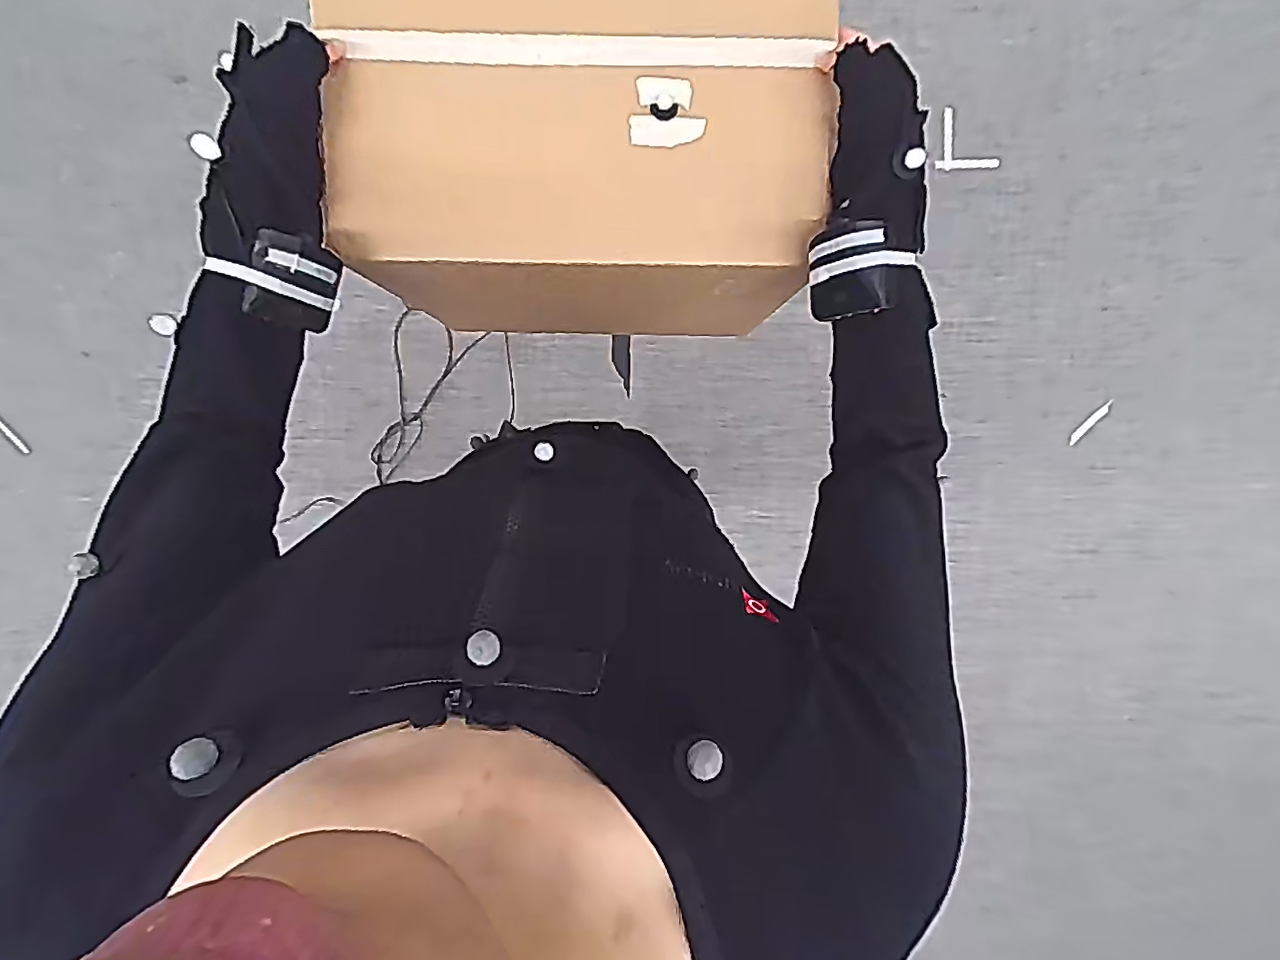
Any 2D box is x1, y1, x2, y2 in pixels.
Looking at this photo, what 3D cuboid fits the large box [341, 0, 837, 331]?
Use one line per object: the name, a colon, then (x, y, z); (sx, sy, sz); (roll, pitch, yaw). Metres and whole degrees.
large box: (-0.045, -0.349, 0.584); (0.408, 0.320, 0.320); (0, 95, -2)
